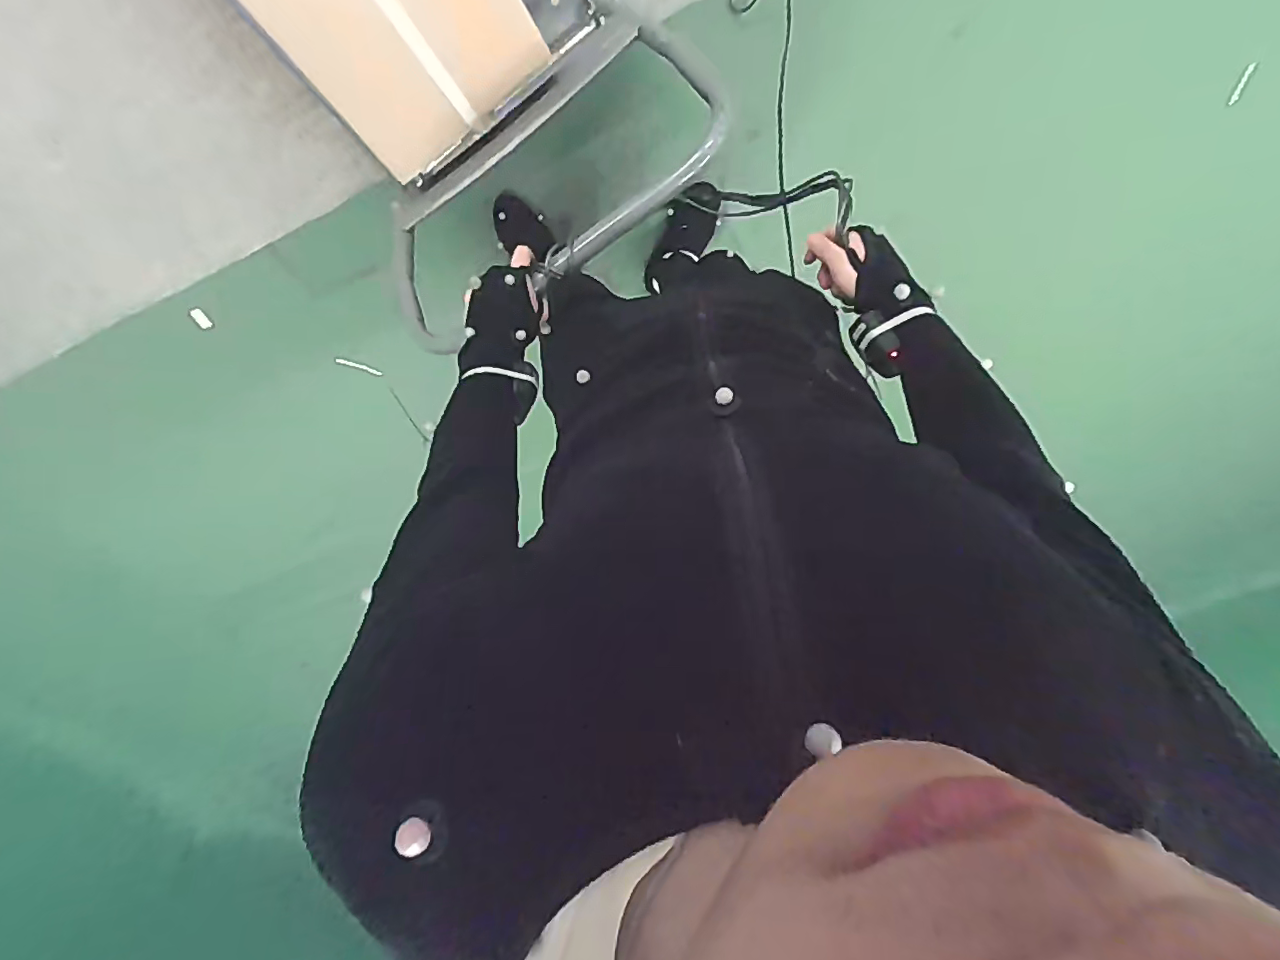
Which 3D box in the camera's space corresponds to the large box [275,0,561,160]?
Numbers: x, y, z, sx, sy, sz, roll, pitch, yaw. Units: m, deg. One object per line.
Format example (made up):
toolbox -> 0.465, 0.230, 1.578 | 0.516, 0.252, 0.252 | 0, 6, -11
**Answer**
large box -> -0.368, -0.794, 0.807 | 0.320, 0.320, 0.408 | -30, 135, 12
